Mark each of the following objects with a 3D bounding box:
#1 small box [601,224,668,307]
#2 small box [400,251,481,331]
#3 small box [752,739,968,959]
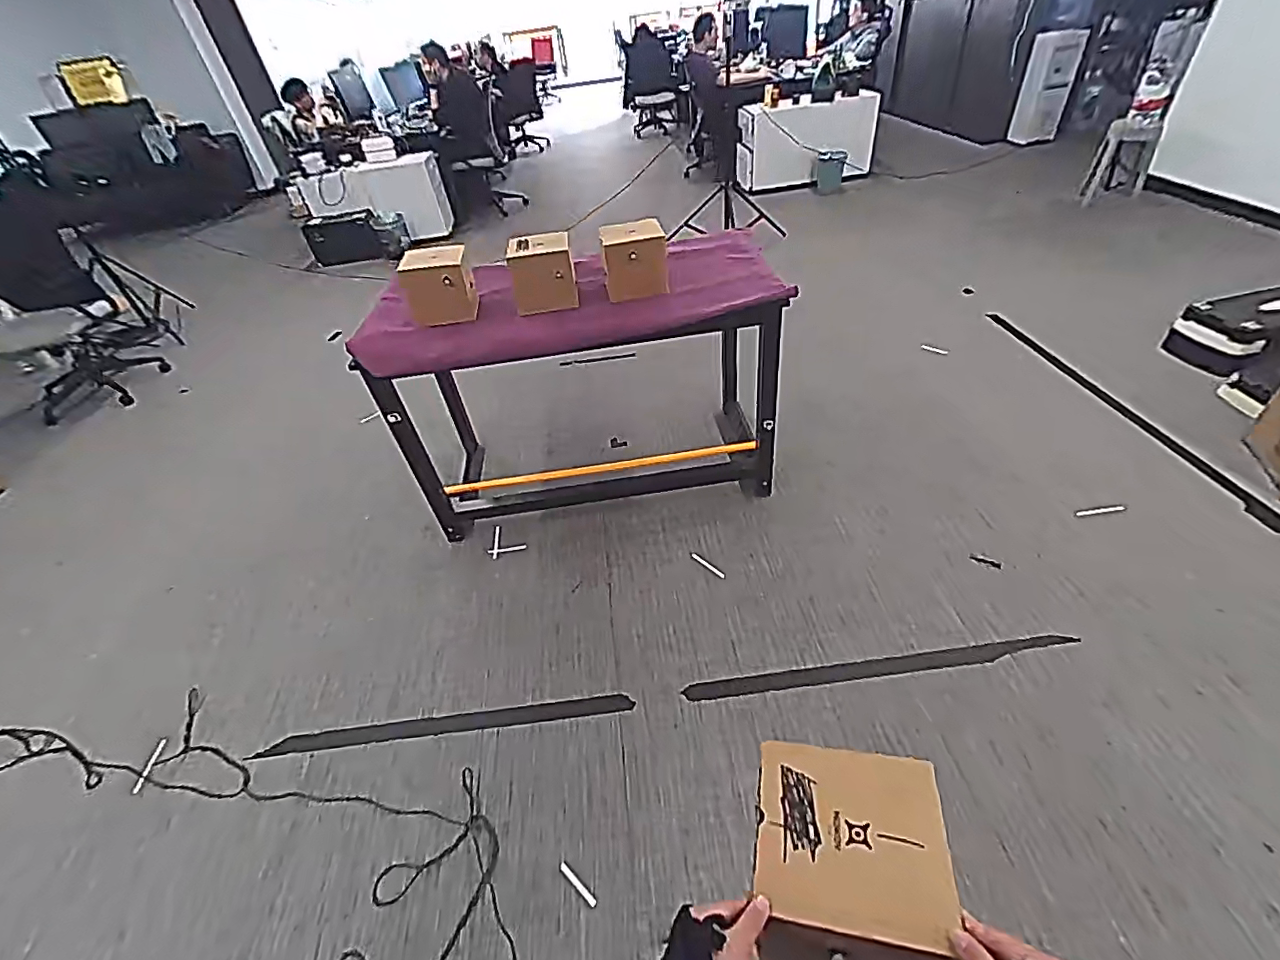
[{"bbox_3d":[-0.014,-0.630,1.595,0.179,0.176,0.168,-10,41,-1],"label":"small box"},{"bbox_3d":[-0.578,-0.556,1.594,0.179,0.176,0.168,-8,41,-4],"label":"small box"},{"bbox_3d":[0.216,0.403,0.564,0.179,0.176,0.168,0,34,17],"label":"small box"}]
